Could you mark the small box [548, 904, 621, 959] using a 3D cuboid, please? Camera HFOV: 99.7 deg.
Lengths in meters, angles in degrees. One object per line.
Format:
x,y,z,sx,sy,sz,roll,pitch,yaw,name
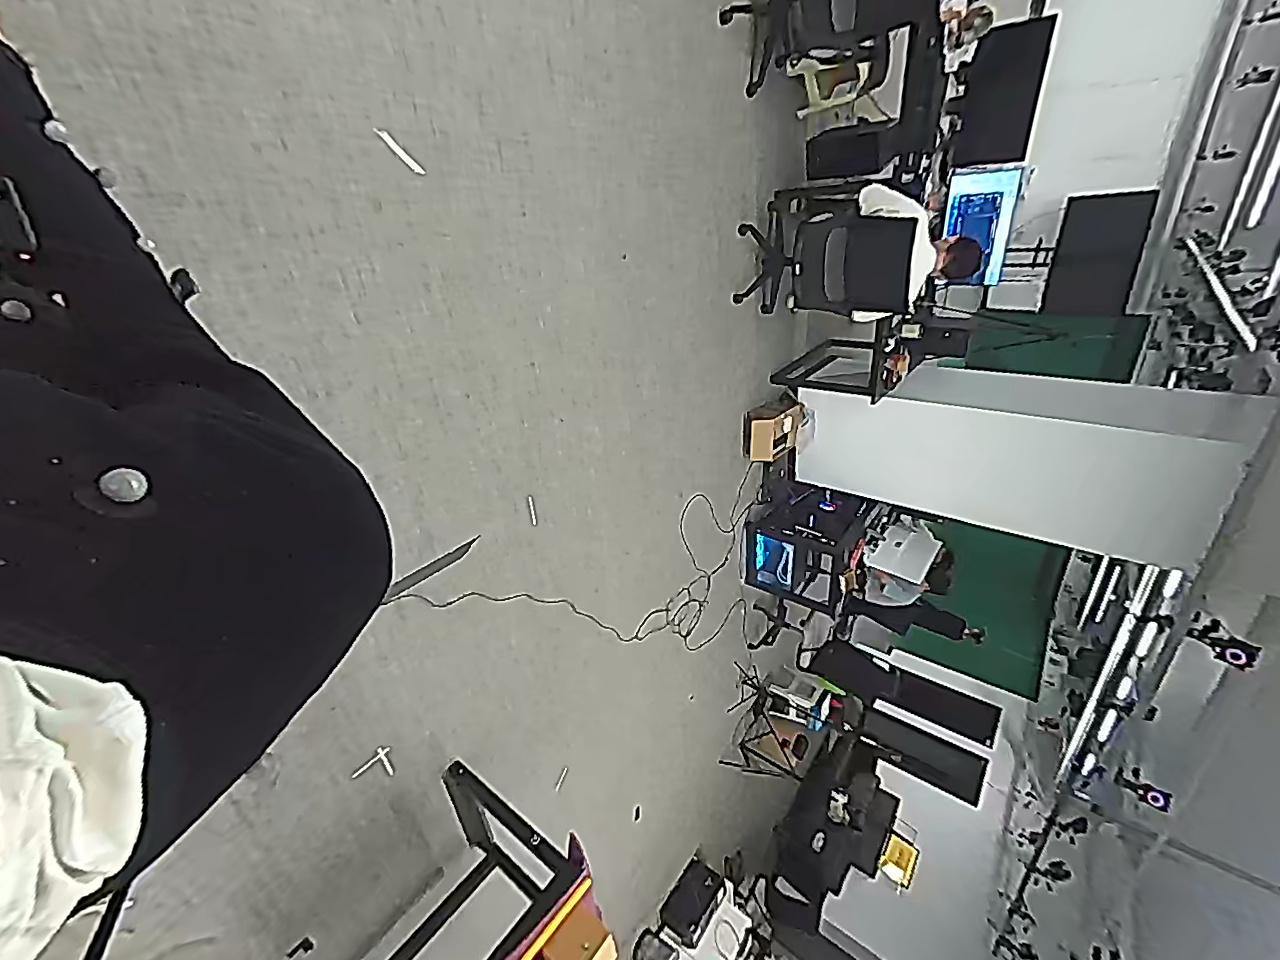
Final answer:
-0.186,1.563,1.774,0.179,0.176,0.168,-33,128,-41,small box
